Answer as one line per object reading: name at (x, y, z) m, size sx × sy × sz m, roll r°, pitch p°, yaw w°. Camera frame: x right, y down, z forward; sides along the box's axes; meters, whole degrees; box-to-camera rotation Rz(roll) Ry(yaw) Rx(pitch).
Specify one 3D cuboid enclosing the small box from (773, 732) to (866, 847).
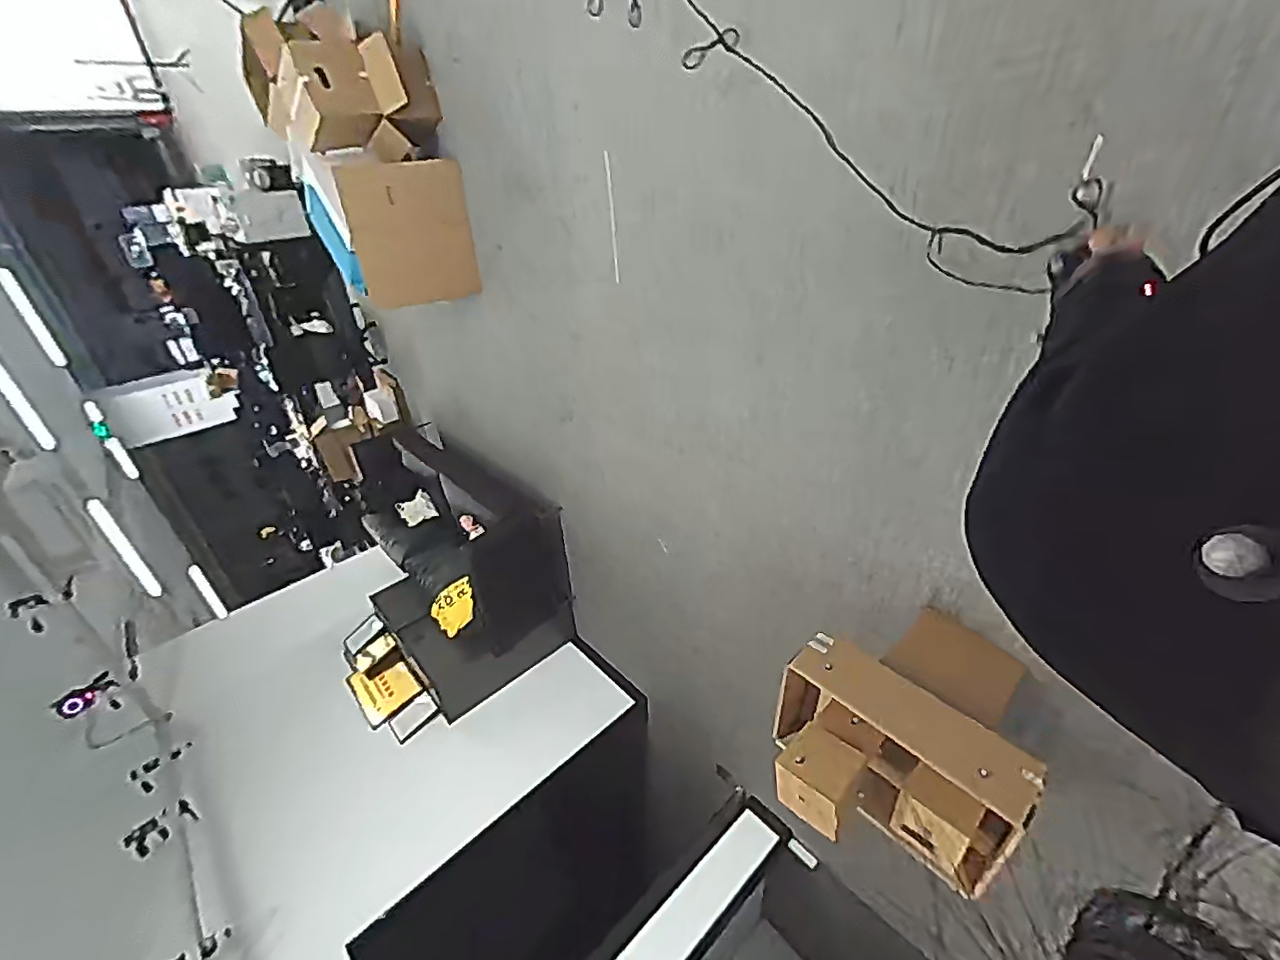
small box at (0.475, 0.809, 1.440) m, size 0.179 × 0.176 × 0.168 m, roll 20°, pitch 129°, yaw 44°

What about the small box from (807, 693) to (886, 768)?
small box at (0.581, 0.756, 1.560) m, size 0.168 × 0.176 × 0.179 m, roll 37°, pitch 138°, yaw 31°
